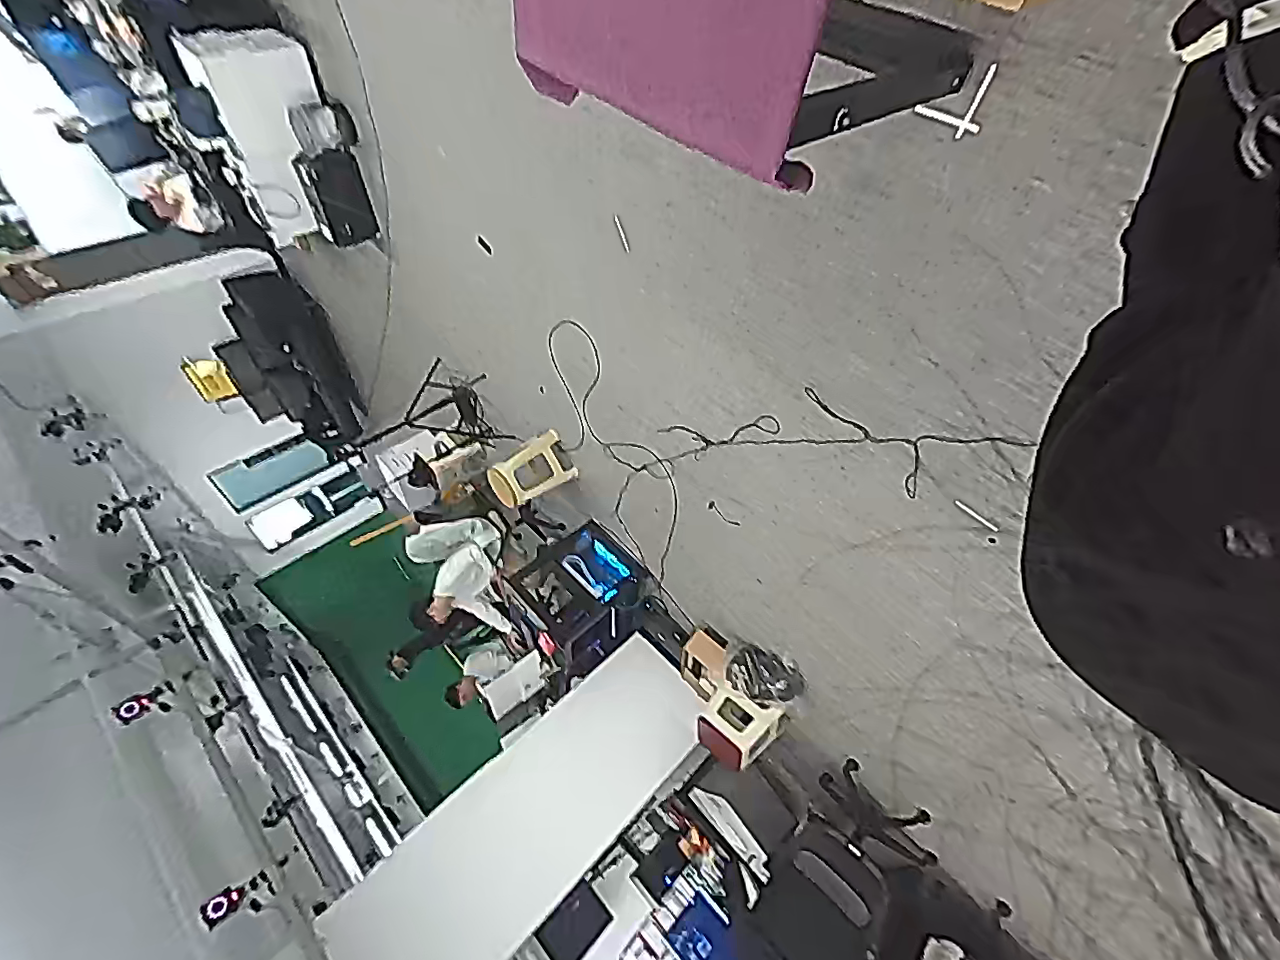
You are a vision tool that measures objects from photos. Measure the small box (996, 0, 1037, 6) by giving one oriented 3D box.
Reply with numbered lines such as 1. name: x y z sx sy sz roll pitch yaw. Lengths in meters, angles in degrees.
1. small box: 0.656 -0.948 0.928 0.179 0.176 0.168 43 149 21
